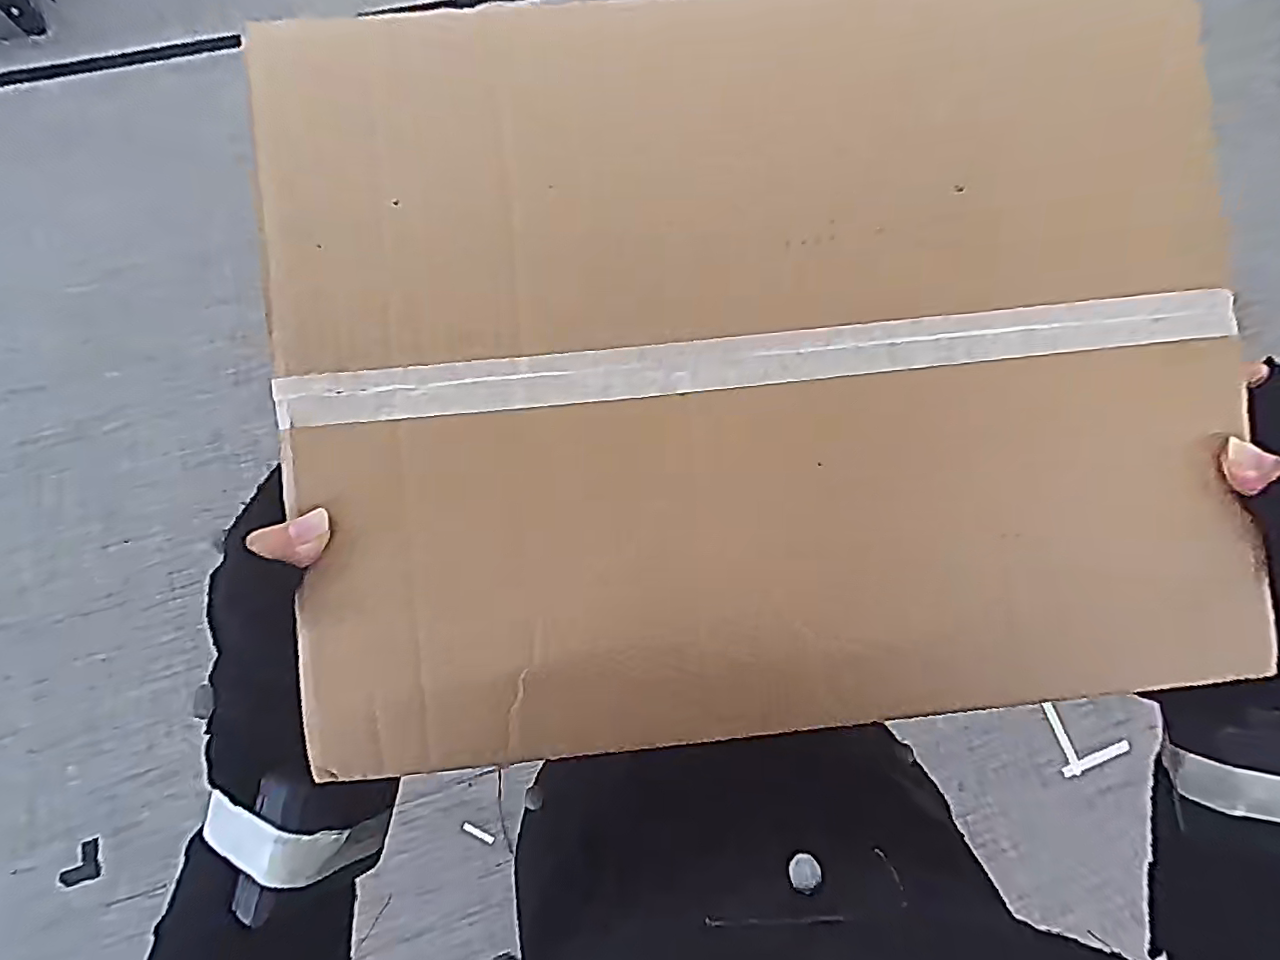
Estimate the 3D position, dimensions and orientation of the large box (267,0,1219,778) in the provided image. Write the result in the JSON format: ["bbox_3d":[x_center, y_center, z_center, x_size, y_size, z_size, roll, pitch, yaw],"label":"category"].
[{"bbox_3d":[0.048,-0.045,0.388,0.408,0.320,0.320,-6,89,-2],"label":"large box"}]
